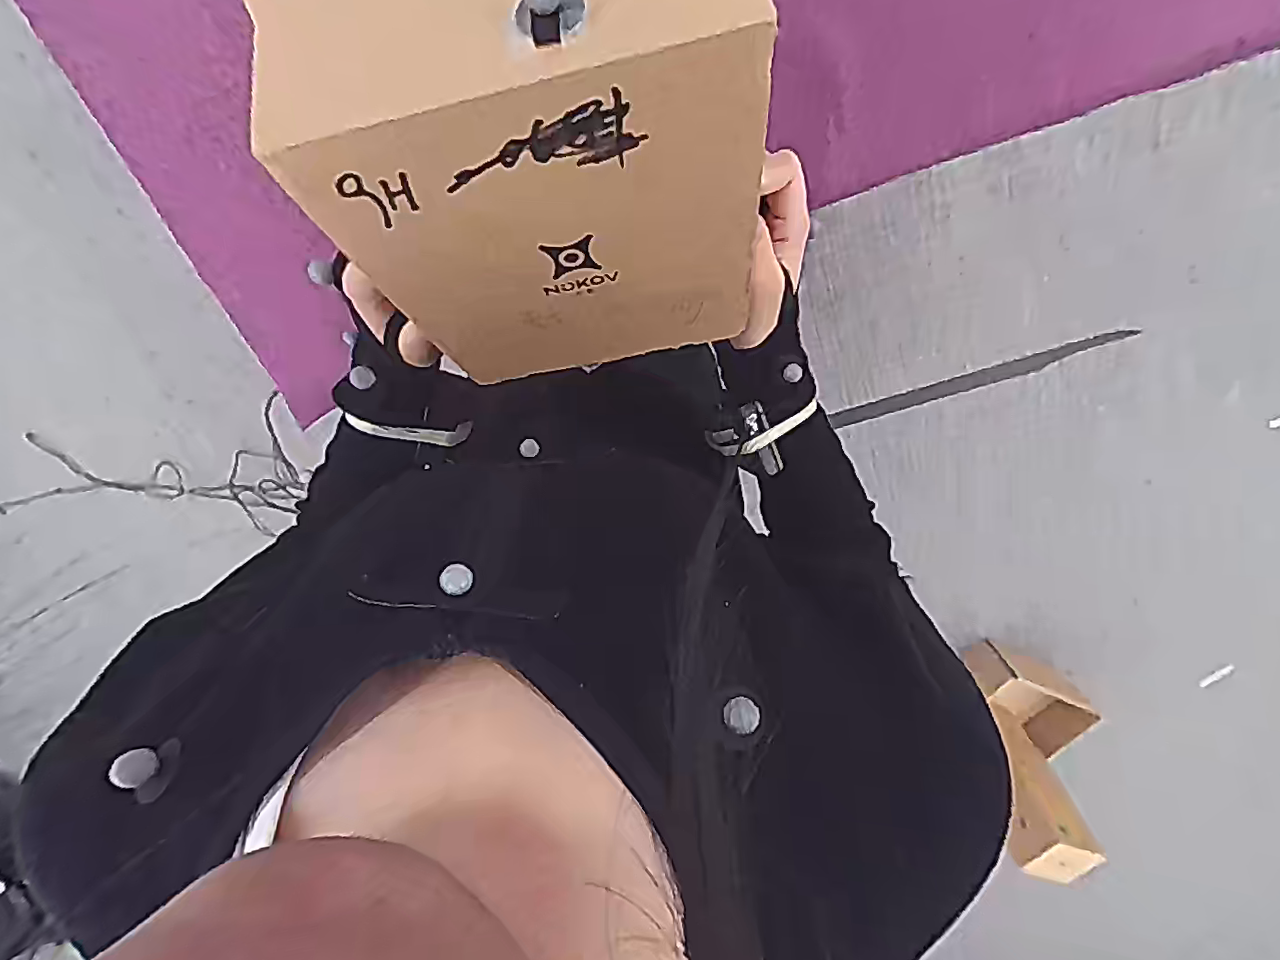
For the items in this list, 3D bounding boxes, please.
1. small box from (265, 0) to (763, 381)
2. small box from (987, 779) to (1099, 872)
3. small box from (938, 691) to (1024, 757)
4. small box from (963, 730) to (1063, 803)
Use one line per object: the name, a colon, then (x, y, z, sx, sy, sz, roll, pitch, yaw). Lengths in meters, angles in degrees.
small box: (-0.044, -0.173, 0.270, 0.168, 0.179, 0.176, -10, 75, 5)
small box: (1.208, 1.042, 1.639, 0.179, 0.176, 0.168, 20, 119, -9)
small box: (1.215, 0.884, 1.926, 0.179, 0.176, 0.168, 24, 117, -11)
small box: (1.216, 0.958, 1.782, 0.179, 0.176, 0.168, 19, 119, -10)
